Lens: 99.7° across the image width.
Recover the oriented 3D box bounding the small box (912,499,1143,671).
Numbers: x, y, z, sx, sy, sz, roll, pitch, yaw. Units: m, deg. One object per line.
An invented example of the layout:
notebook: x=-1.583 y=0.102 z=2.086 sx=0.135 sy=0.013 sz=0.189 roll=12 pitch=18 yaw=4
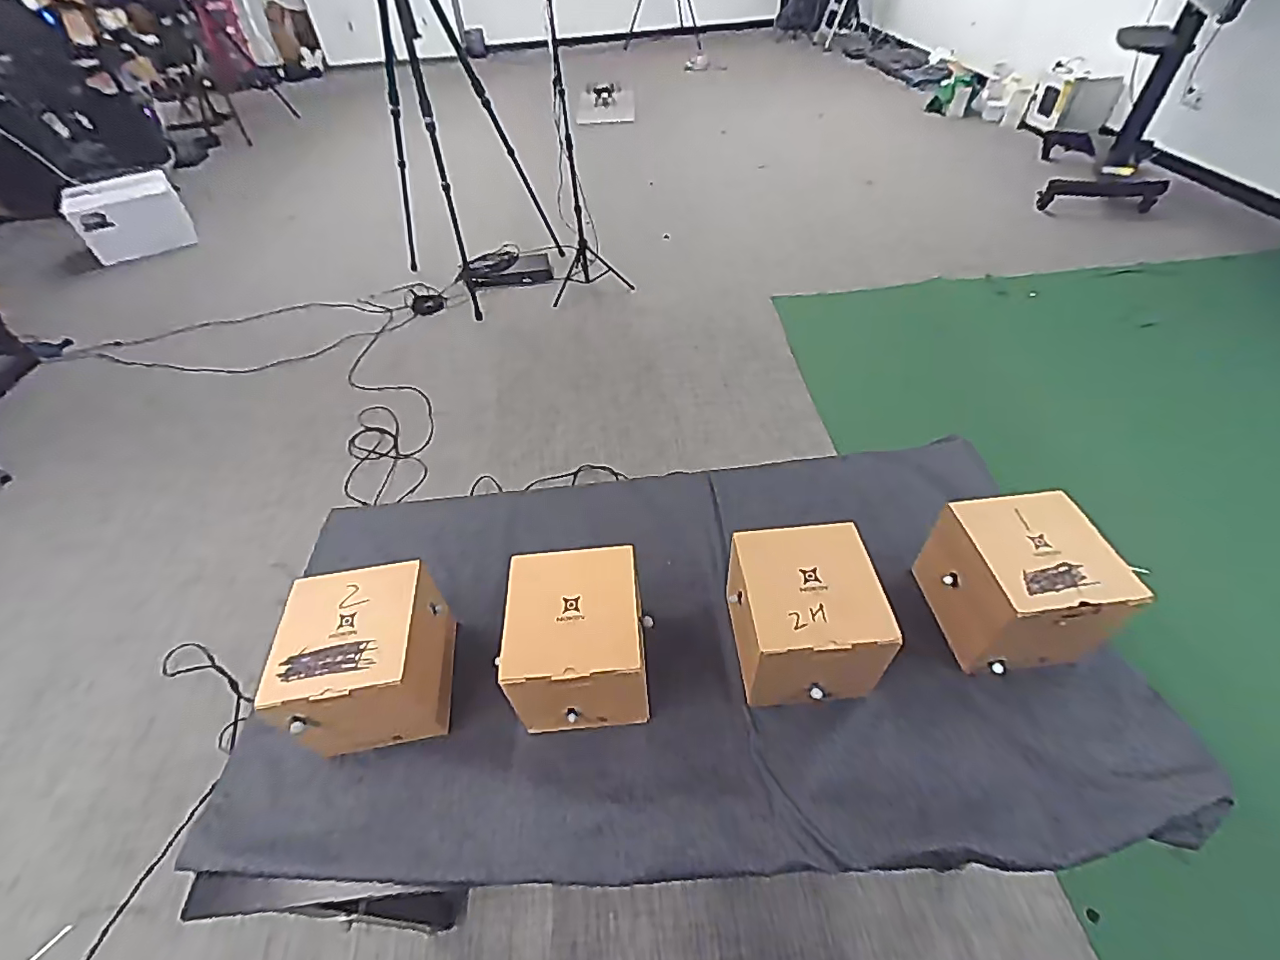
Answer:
small box: x=0.513 y=0.151 z=0.751 sx=0.168 sy=0.176 sz=0.179 roll=-5 pitch=47 yaw=-1

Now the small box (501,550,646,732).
small box: x=-0.080 y=0.216 z=0.727 sx=0.168 sy=0.176 sz=0.179 roll=-4 pitch=48 yaw=-1

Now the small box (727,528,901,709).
small box: x=0.217 y=0.188 z=0.734 sx=0.168 sy=0.176 sz=0.179 roll=-5 pitch=47 yaw=0
